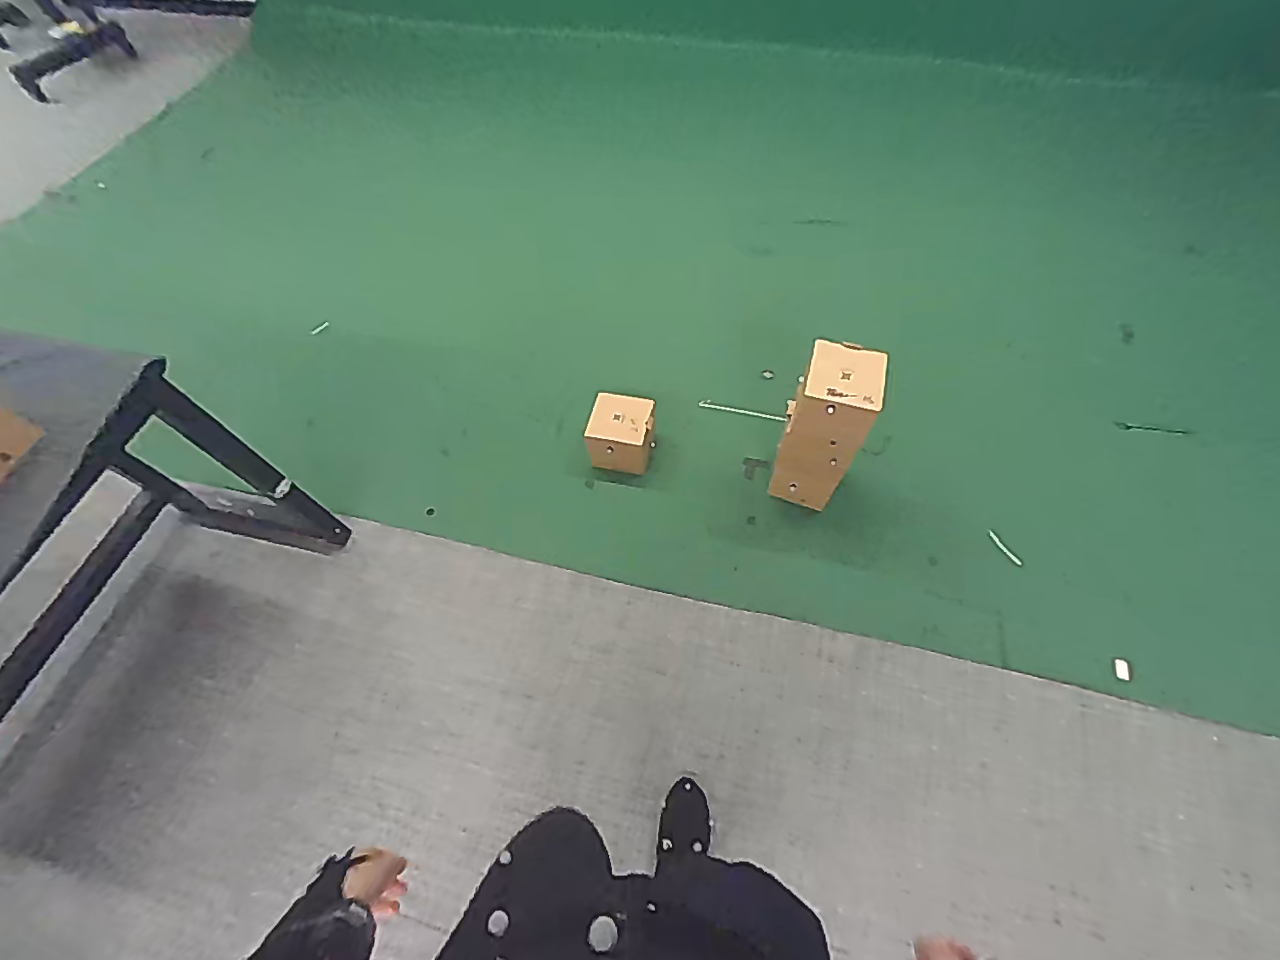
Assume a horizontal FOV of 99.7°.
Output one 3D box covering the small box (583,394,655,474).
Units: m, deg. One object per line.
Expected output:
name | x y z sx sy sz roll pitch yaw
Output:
small box | -0.058 -0.136 1.639 0.179 0.176 0.168 11 62 8

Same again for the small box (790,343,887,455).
small box | 0.464 -0.189 1.277 0.168 0.176 0.179 15 61 9

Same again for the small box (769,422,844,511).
small box | 0.481 -0.034 1.567 0.168 0.176 0.179 19 62 12

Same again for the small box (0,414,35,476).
small box | -1.080 -0.058 0.789 0.179 0.176 0.168 10 62 11
